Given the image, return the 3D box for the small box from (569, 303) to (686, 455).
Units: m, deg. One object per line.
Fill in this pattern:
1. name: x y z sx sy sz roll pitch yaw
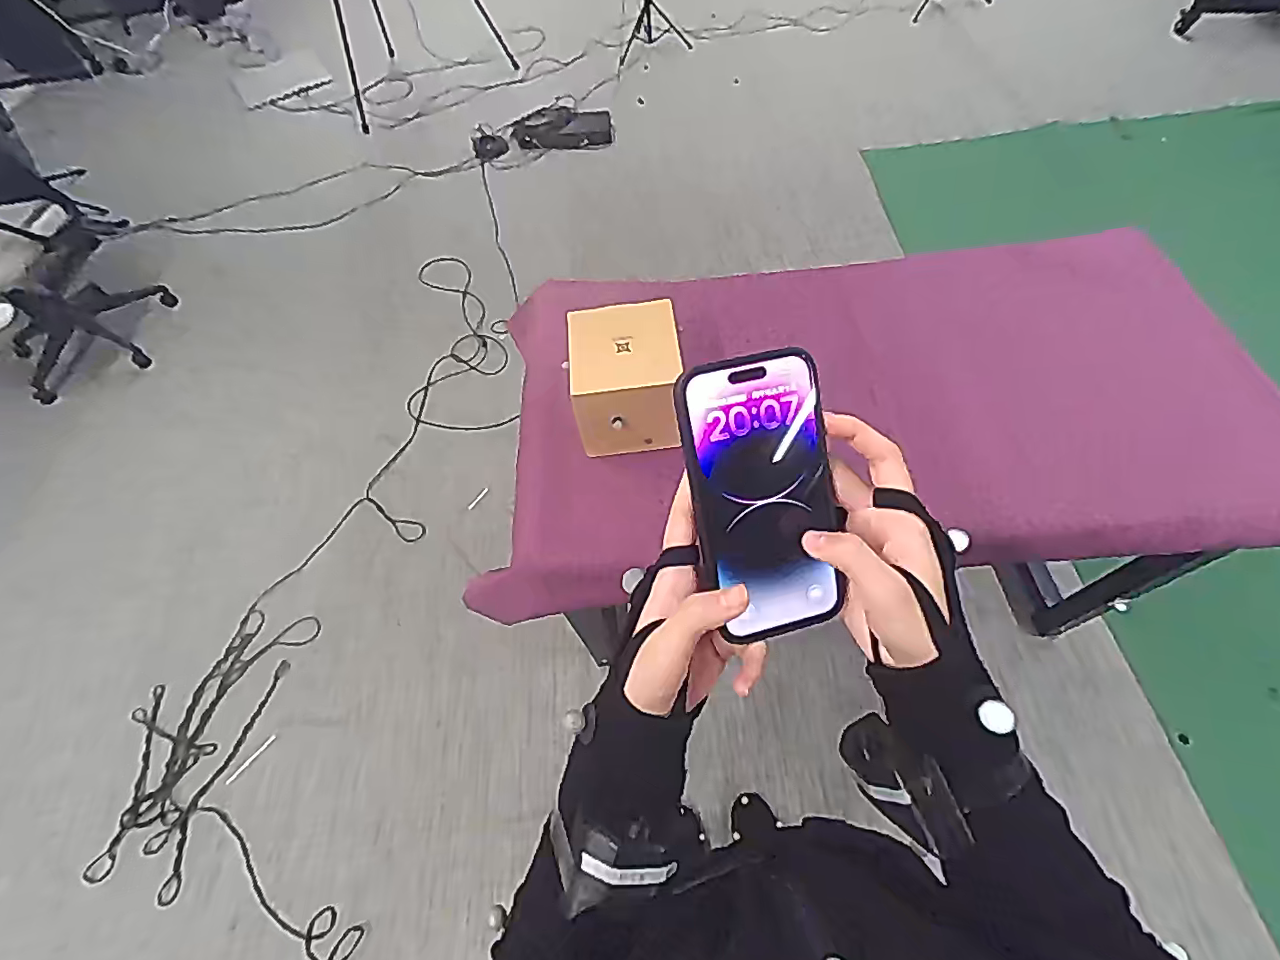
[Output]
1. small box: -0.017 -0.153 0.874 0.168 0.176 0.179 -7 57 2
